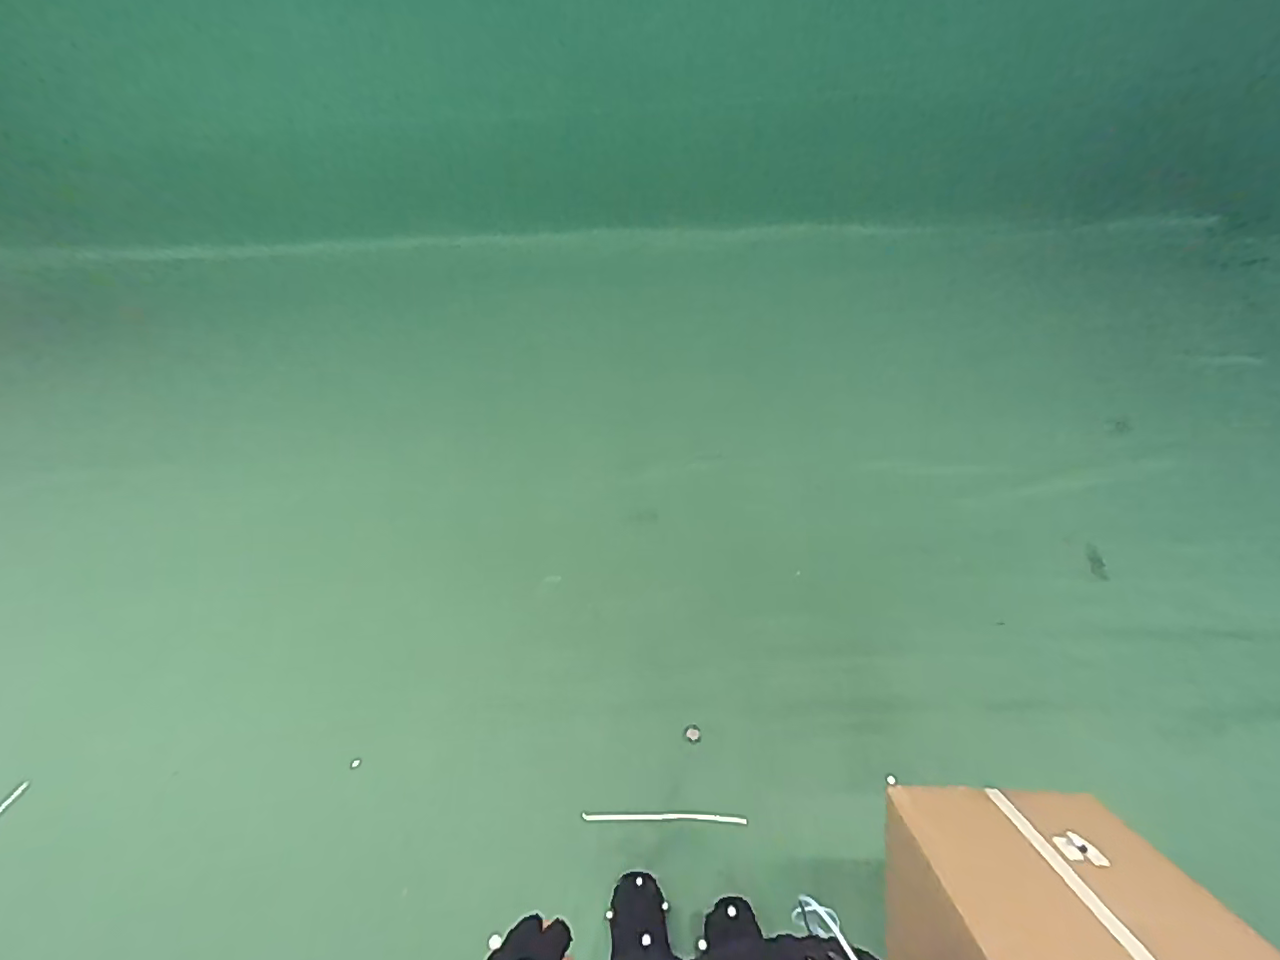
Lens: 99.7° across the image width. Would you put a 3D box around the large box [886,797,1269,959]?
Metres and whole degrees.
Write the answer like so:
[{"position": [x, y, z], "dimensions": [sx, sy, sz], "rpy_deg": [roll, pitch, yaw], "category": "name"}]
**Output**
[{"position": [0.537, 0.669, 0.670], "dimensions": [0.320, 0.408, 0.320], "rpy_deg": [0, 91, 5], "category": "large box"}]
